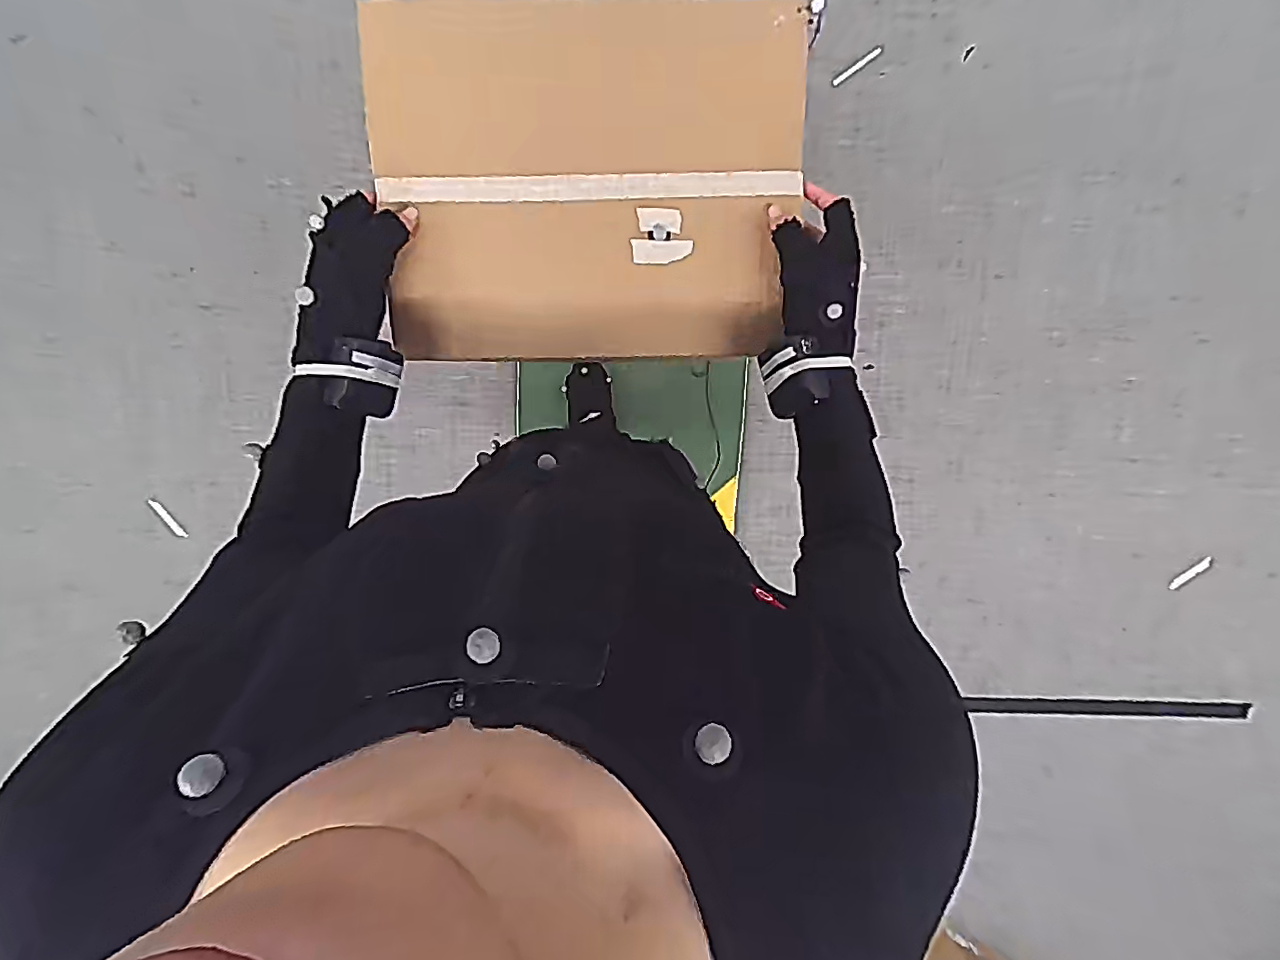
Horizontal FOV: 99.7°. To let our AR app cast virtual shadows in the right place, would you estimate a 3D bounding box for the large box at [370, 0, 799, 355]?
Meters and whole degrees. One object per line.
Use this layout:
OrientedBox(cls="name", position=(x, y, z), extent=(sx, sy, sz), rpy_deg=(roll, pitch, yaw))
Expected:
OrientedBox(cls="large box", position=(-0.051, -0.324, 0.672), extent=(0.408, 0.320, 0.320), rpy_deg=(-2, 102, -1))
